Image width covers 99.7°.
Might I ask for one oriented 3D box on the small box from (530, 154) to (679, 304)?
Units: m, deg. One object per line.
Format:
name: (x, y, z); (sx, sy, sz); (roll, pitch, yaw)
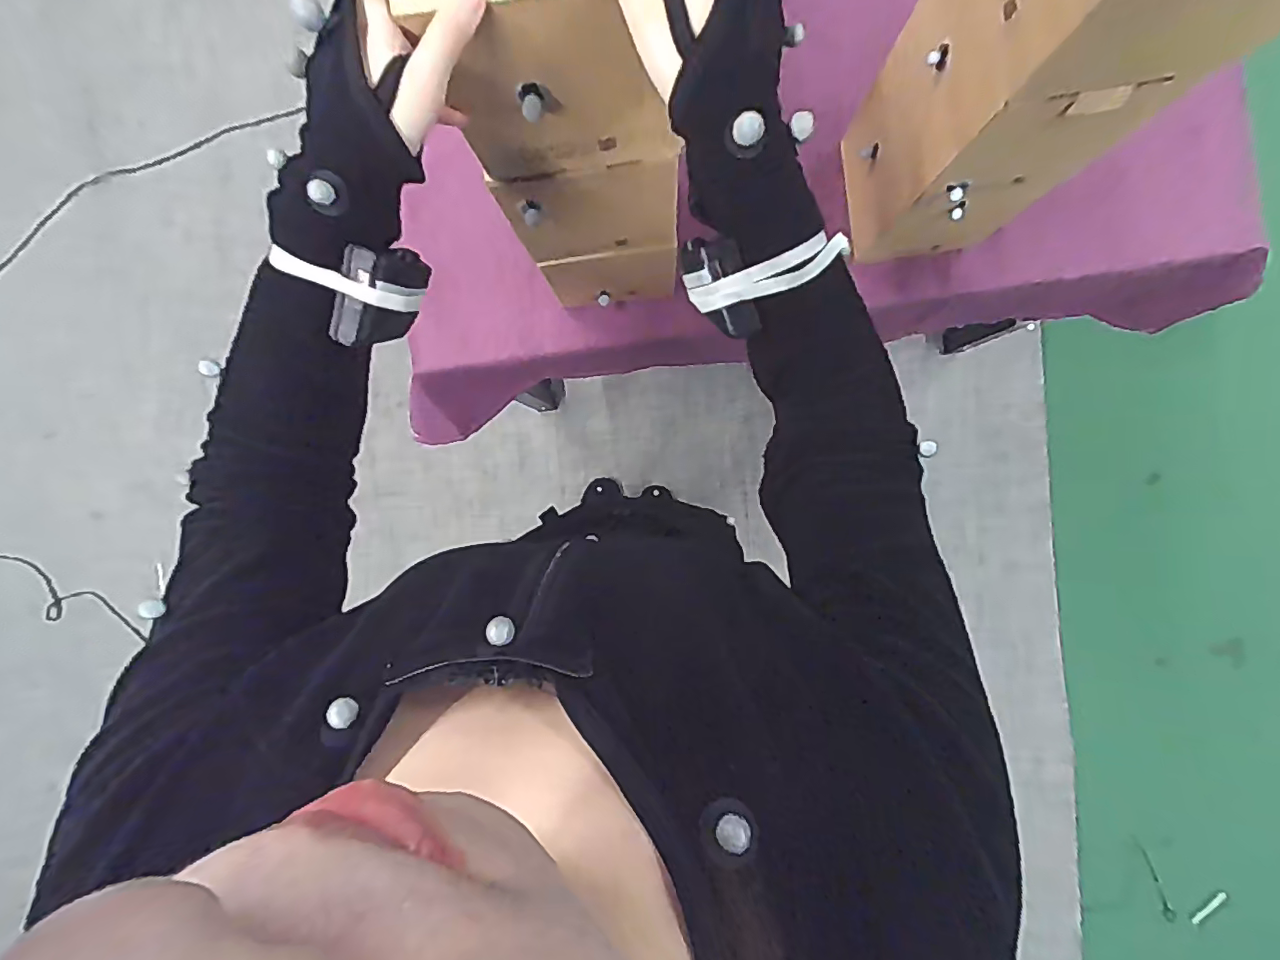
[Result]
small box: (-0.041, -0.346, 0.699); (0.168, 0.176, 0.179); (-6, 92, 3)

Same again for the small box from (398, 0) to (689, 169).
small box: (-0.055, -0.343, 0.372); (0.168, 0.176, 0.179); (-6, 90, 3)

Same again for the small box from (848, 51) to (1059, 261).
small box: (0.374, -0.403, 0.679); (0.168, 0.176, 0.179); (-7, 90, 4)

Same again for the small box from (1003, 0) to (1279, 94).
small box: (0.364, -0.391, 0.350); (0.179, 0.176, 0.168); (-7, 92, 2)

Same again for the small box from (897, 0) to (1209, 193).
small box: (0.369, -0.400, 0.515); (0.168, 0.176, 0.179); (-8, 91, 2)
